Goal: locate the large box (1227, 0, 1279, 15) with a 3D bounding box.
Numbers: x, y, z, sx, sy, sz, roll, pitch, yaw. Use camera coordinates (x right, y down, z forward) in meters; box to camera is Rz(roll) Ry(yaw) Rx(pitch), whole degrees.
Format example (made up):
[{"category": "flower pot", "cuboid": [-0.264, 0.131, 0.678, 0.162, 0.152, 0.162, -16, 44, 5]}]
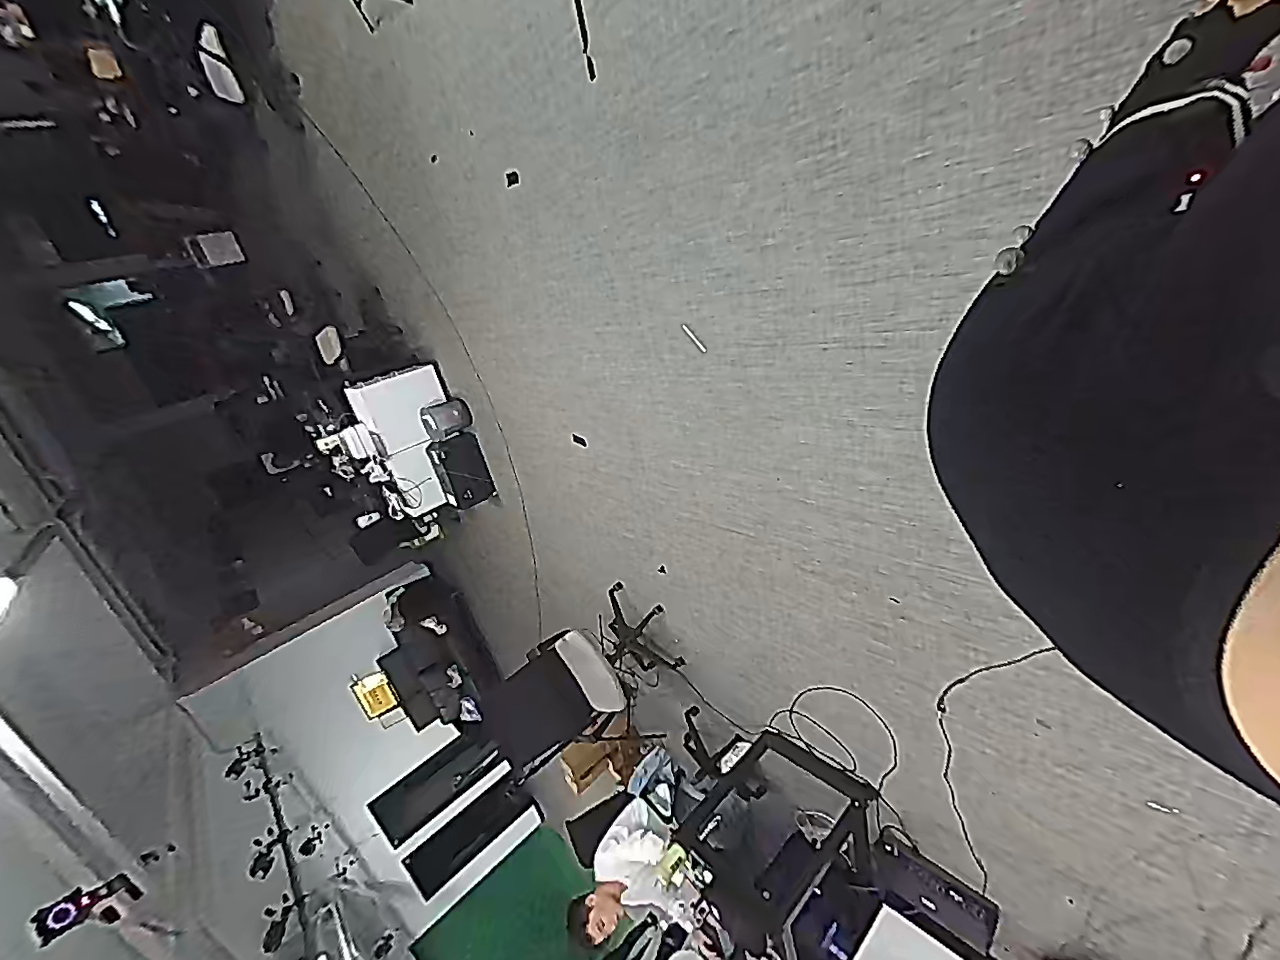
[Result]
[{"category": "large box", "cuboid": [0.971, -0.764, 0.580, 0.408, 0.320, 0.320, 24, 131, 42]}]
